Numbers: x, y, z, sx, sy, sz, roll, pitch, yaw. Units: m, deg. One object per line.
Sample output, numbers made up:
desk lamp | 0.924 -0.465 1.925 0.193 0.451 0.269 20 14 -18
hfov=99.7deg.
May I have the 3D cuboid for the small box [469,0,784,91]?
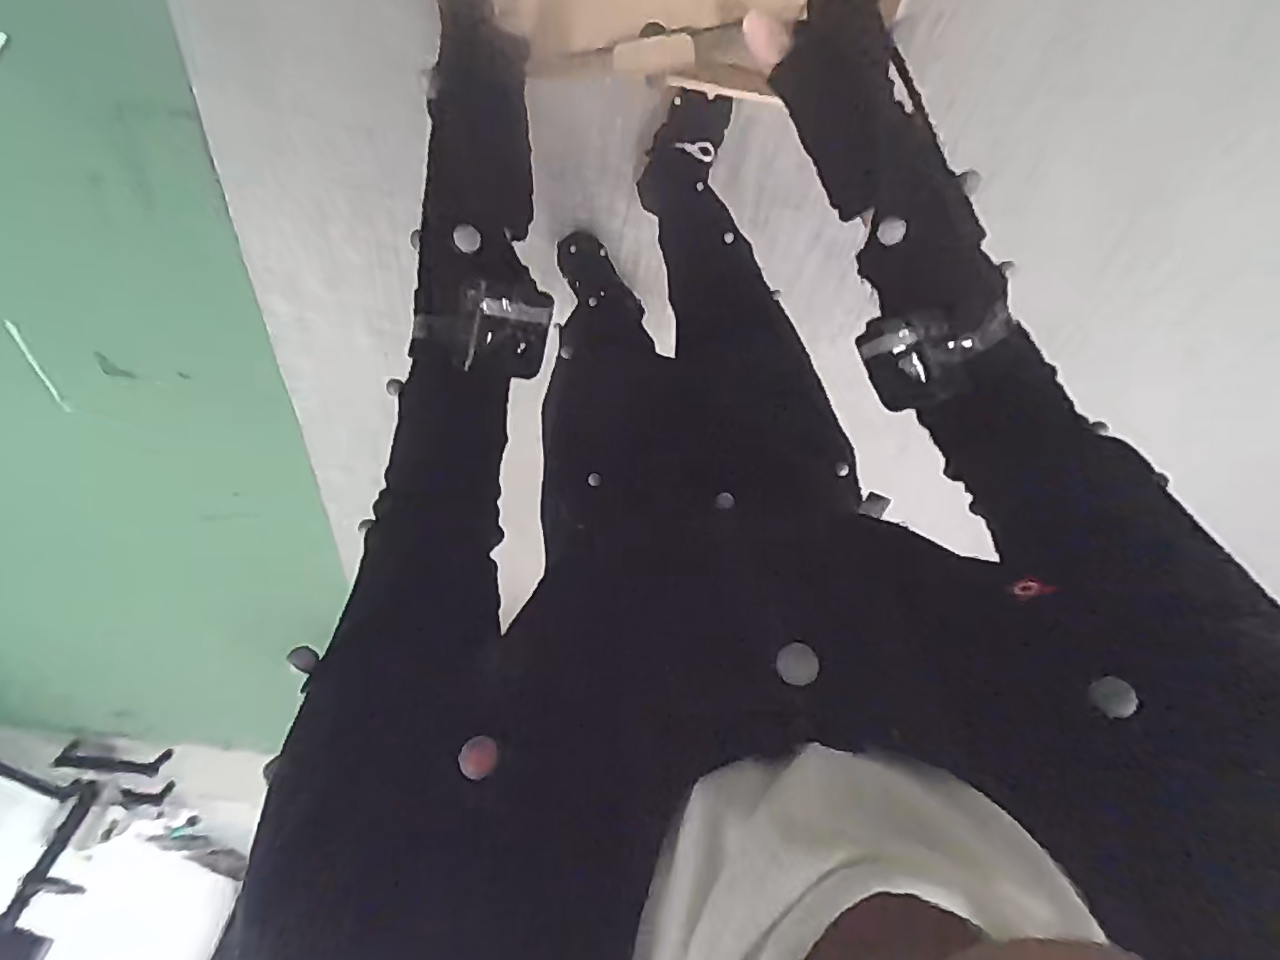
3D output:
small box | -0.009 -0.340 0.309 0.168 0.176 0.179 -4 125 6
